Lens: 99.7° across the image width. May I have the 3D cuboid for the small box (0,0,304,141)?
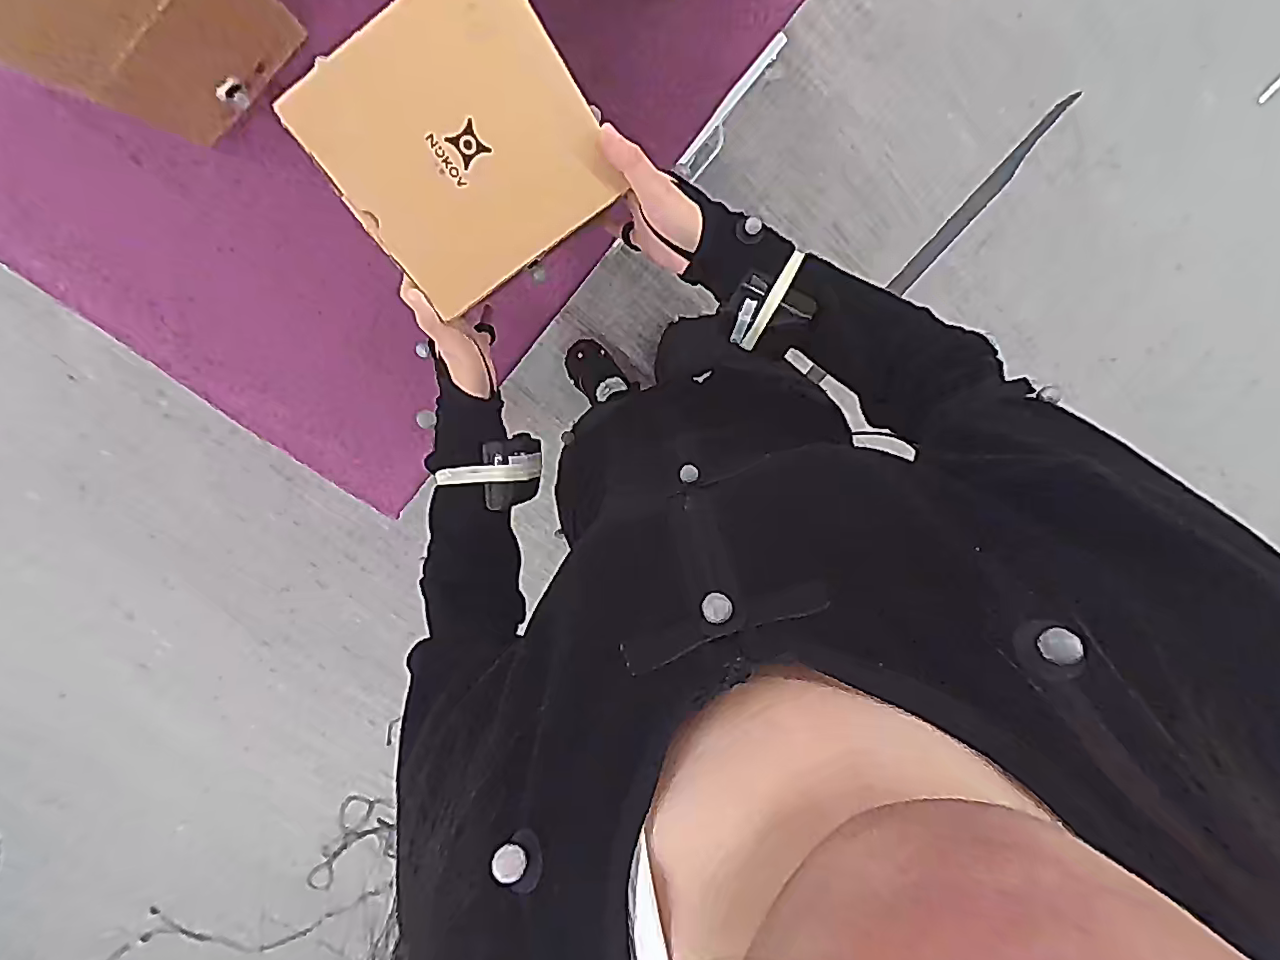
[{"bbox_3d":[-0.455,-0.448,0.480,0.168,0.176,0.179,-43,109,9],"label":"small box"}]
